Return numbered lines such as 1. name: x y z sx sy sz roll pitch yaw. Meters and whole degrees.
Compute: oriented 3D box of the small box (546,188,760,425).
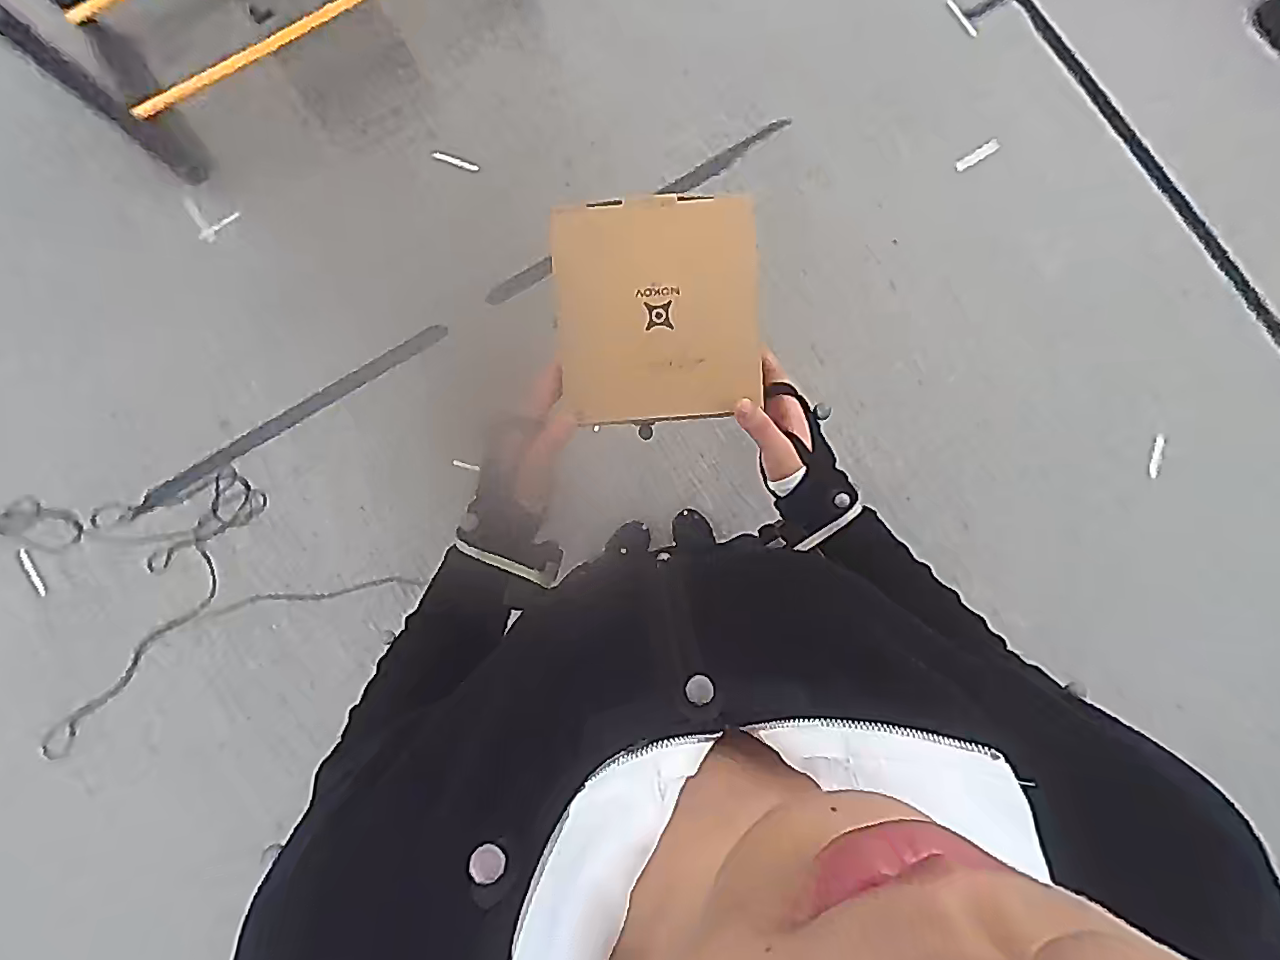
1. small box: 0.009 -0.148 0.518 0.168 0.176 0.179 -5 95 -1
